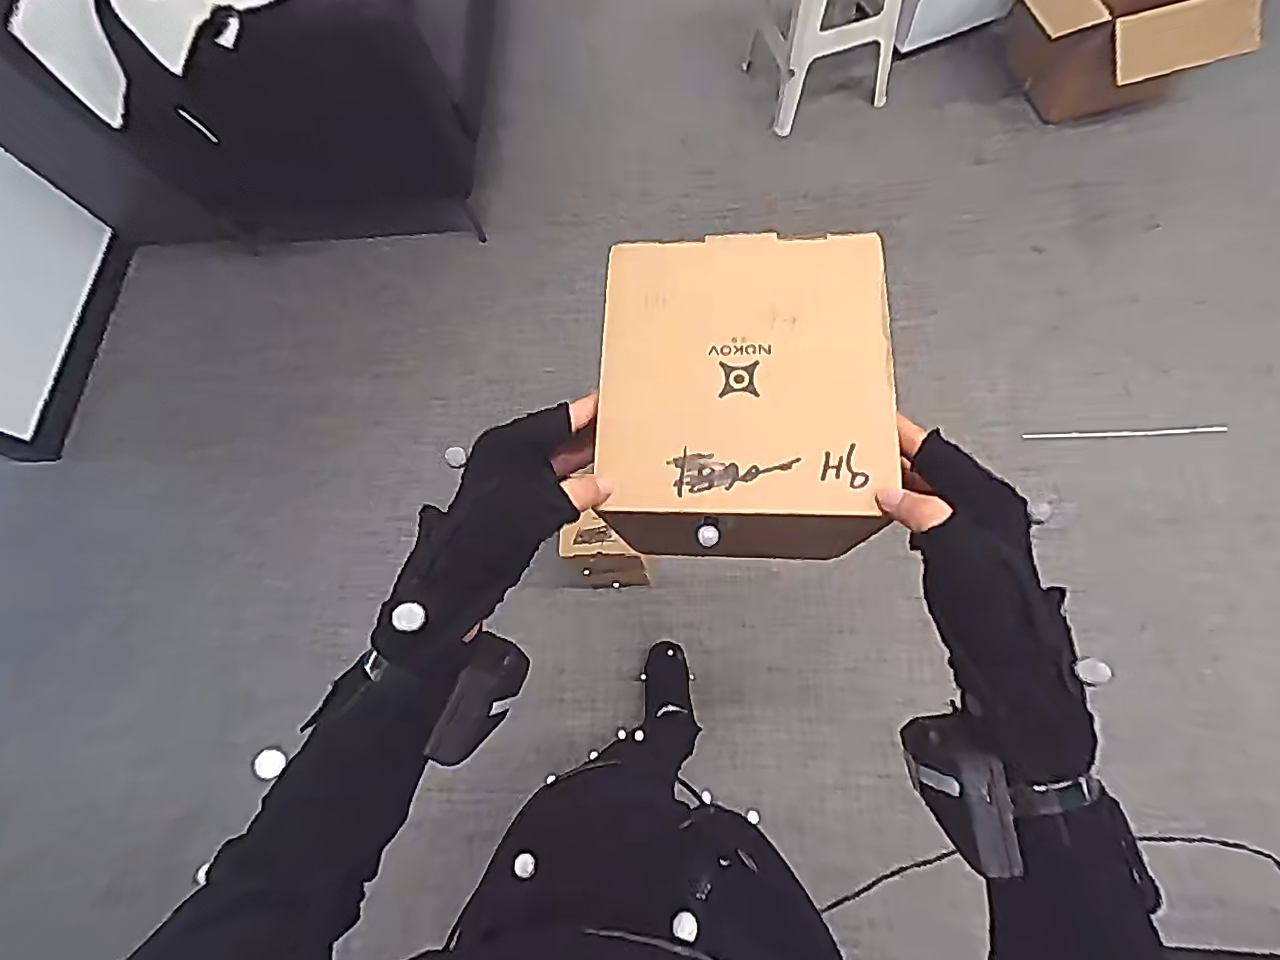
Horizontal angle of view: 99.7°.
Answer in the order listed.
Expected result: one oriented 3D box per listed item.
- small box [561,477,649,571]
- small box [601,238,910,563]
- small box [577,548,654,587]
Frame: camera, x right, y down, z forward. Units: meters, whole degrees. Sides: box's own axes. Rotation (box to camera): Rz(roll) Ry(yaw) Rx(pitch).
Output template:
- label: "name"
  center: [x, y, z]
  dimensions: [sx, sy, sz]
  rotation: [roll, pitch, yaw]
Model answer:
- label: "small box"
  center: [-0.068, 0.101, 1.169]
  dimensions: [0.168, 0.176, 0.179]
  rotation: [-2, 70, 5]
- label: "small box"
  center: [0.073, -0.042, 0.388]
  dimensions: [0.168, 0.176, 0.179]
  rotation: [0, 74, 8]
- label: "small box"
  center: [-0.054, 0.162, 1.321]
  dimensions: [0.168, 0.176, 0.179]
  rotation: [-1, 71, 6]
